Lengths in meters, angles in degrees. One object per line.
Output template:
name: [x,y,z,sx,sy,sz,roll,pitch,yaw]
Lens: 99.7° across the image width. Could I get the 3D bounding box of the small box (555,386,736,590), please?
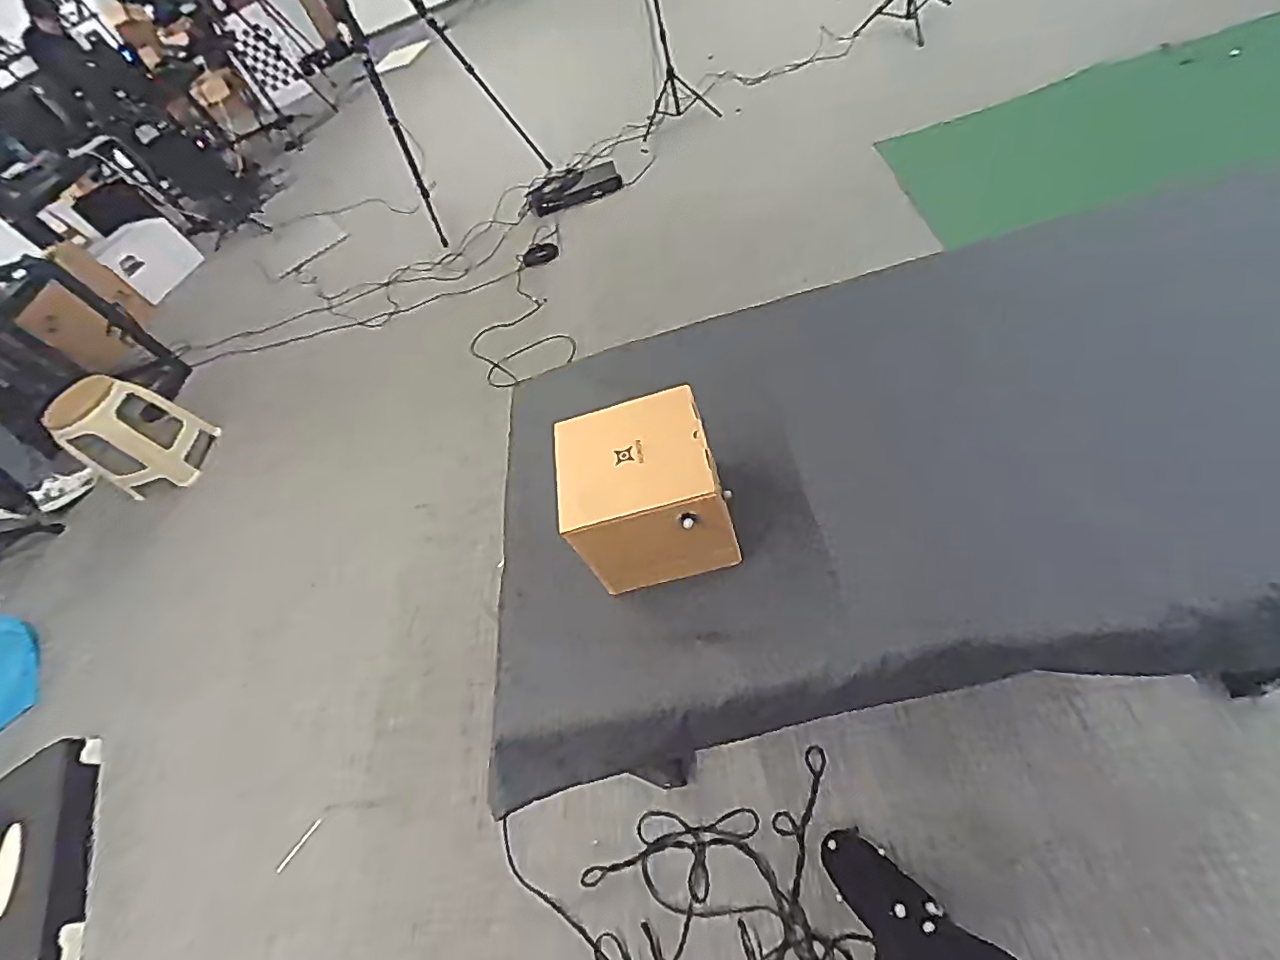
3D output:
small box: [0.008,0.018,0.672,0.179,0.176,0.168,-16,52,8]
